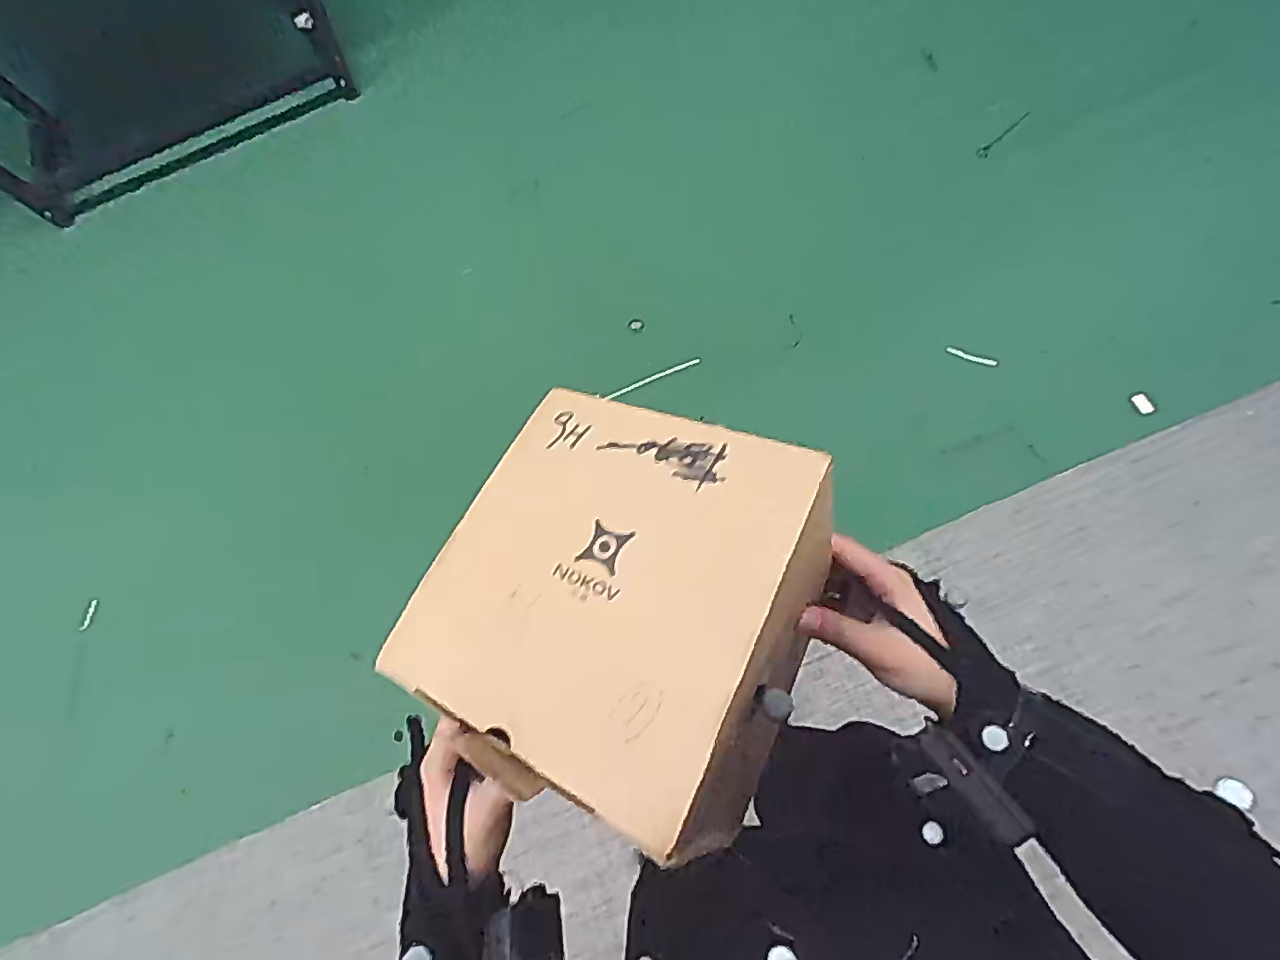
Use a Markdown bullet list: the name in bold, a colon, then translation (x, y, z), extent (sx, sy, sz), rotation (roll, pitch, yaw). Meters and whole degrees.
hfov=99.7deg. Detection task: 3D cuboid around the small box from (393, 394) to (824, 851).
- **small box**: translation (0.005, 0.080, 0.324), extent (0.168, 0.176, 0.179), rotation (18, 68, 27)
